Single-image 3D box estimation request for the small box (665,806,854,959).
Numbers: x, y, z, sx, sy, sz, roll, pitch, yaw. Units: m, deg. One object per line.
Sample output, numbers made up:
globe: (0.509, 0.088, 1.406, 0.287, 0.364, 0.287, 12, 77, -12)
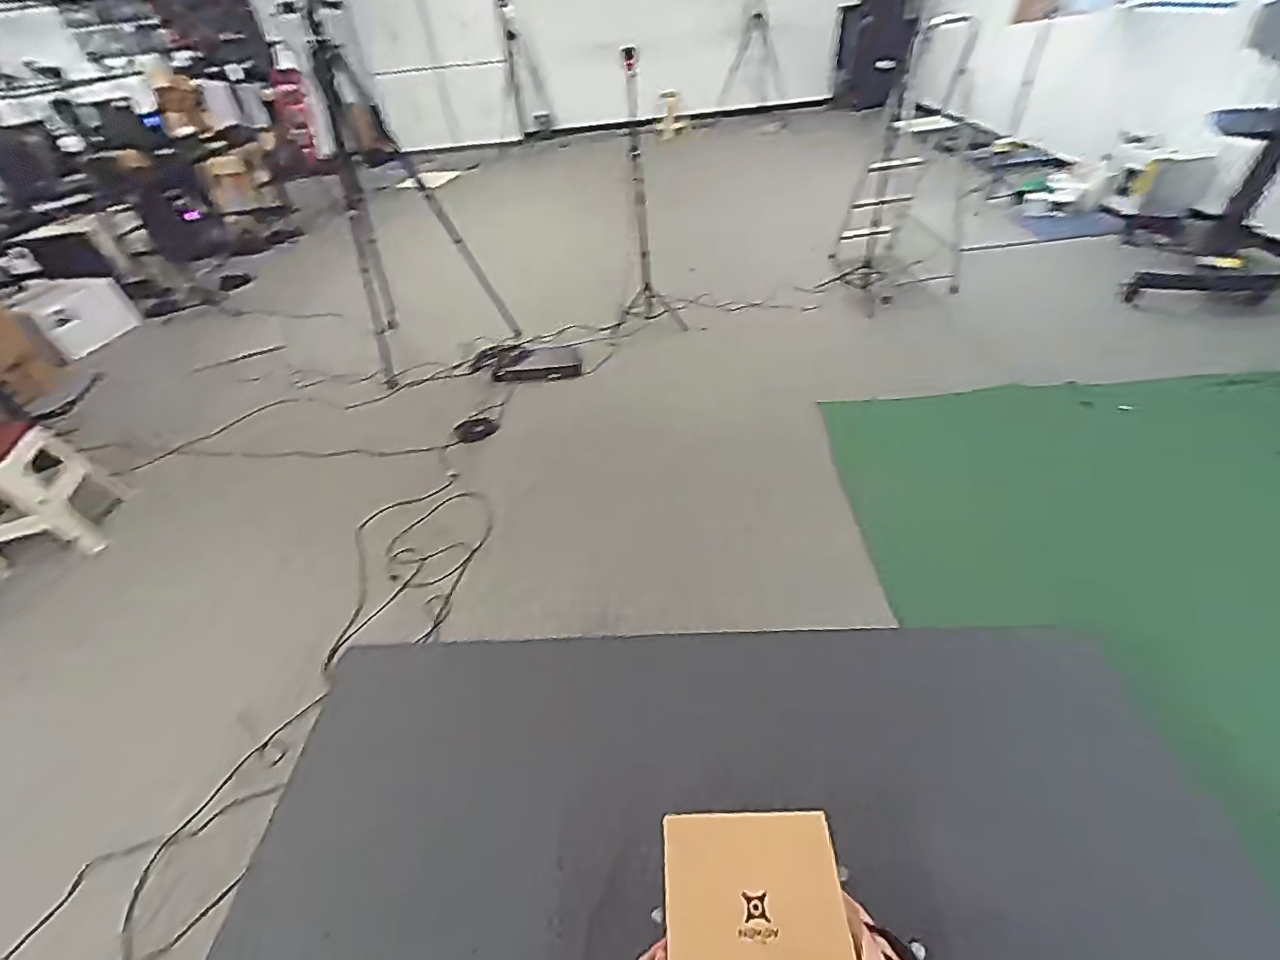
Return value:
small box: (0.110, 0.455, 0.546, 0.168, 0.176, 0.179, -4, 42, 4)
